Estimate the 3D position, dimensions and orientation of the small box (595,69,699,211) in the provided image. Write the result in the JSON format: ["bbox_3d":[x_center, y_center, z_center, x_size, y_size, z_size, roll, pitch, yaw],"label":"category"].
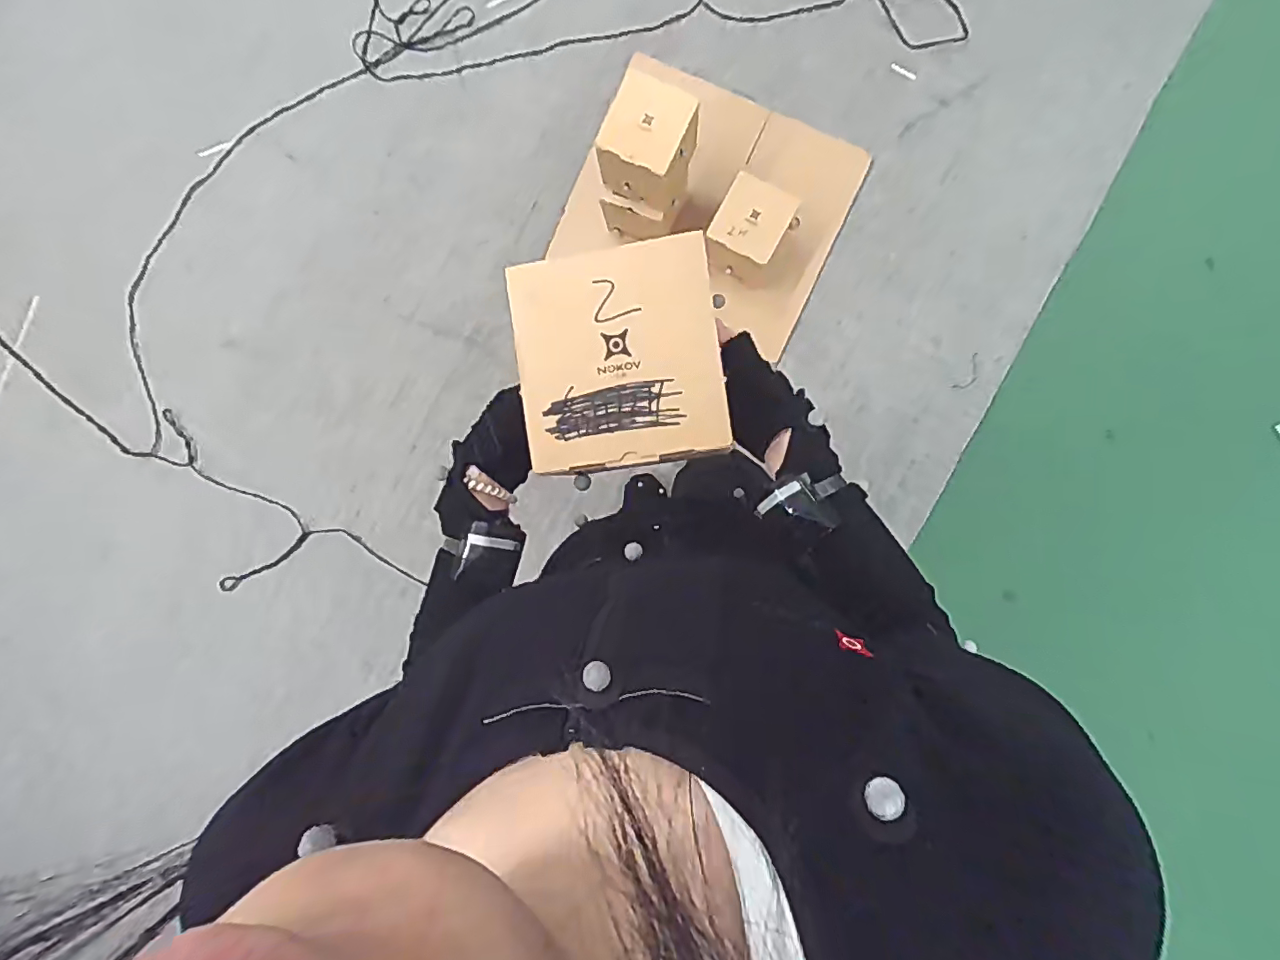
[{"bbox_3d":[0.015,-0.744,1.203,0.168,0.176,0.179,25,93,2],"label":"small box"}]

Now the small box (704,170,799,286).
[{"bbox_3d":[0.268,-0.623,1.357,0.168,0.176,0.179,29,94,3],"label":"small box"}]

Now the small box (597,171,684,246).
[{"bbox_3d":[0.009,-0.725,1.367,0.168,0.176,0.179,23,93,3],"label":"small box"}]
